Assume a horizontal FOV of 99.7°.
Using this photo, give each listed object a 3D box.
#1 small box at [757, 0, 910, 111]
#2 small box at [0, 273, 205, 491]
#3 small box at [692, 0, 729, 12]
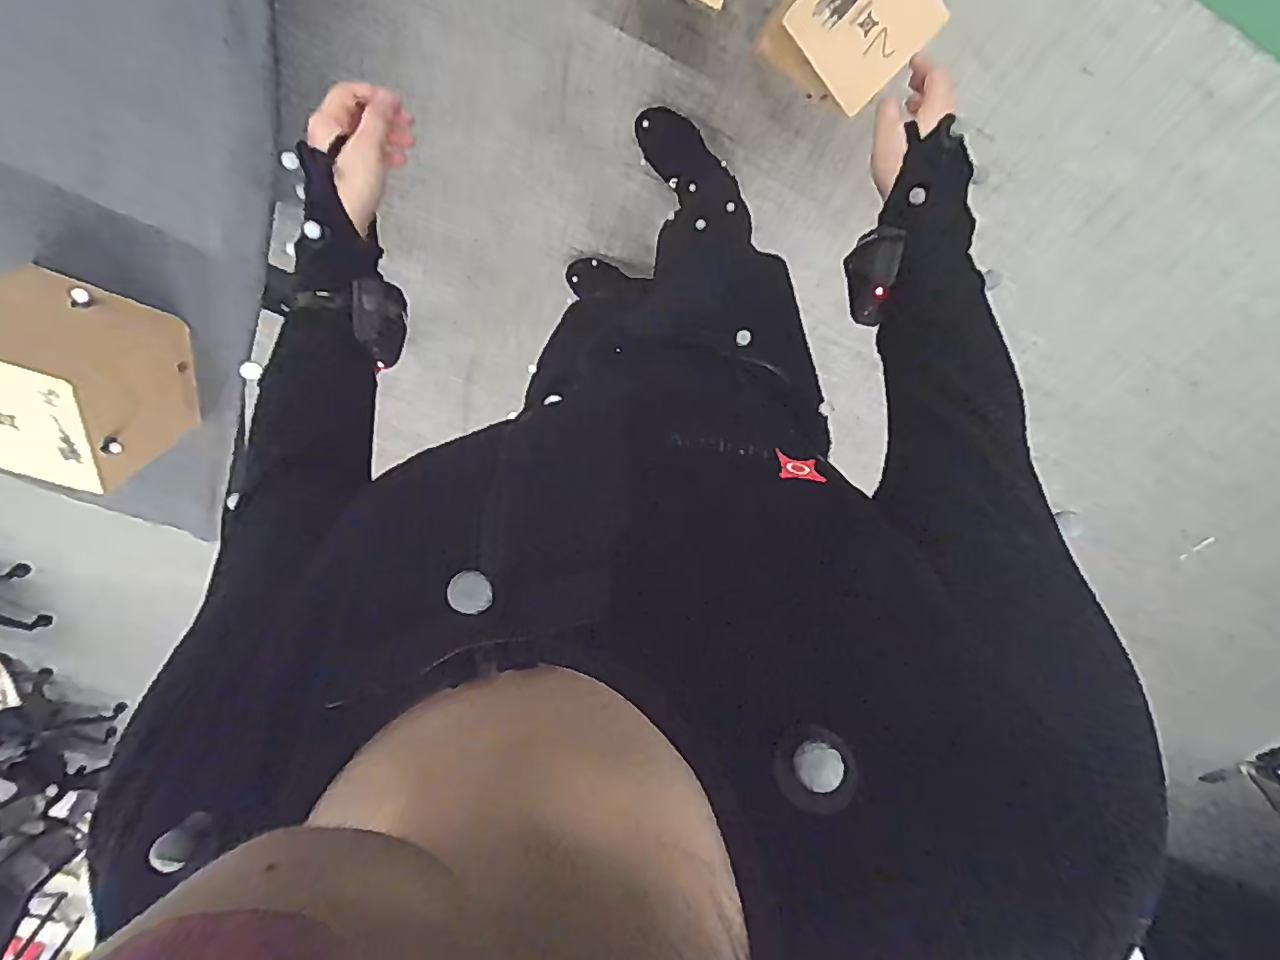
[{"bbox_3d":[0.328,-0.794,0.948,0.179,0.176,0.168,29,125,-17],"label":"small box"},{"bbox_3d":[-0.668,-0.122,0.639,0.179,0.176,0.168,20,127,-11],"label":"small box"},{"bbox_3d":[0.096,-0.905,0.881,0.179,0.176,0.168,21,127,-10],"label":"small box"}]
